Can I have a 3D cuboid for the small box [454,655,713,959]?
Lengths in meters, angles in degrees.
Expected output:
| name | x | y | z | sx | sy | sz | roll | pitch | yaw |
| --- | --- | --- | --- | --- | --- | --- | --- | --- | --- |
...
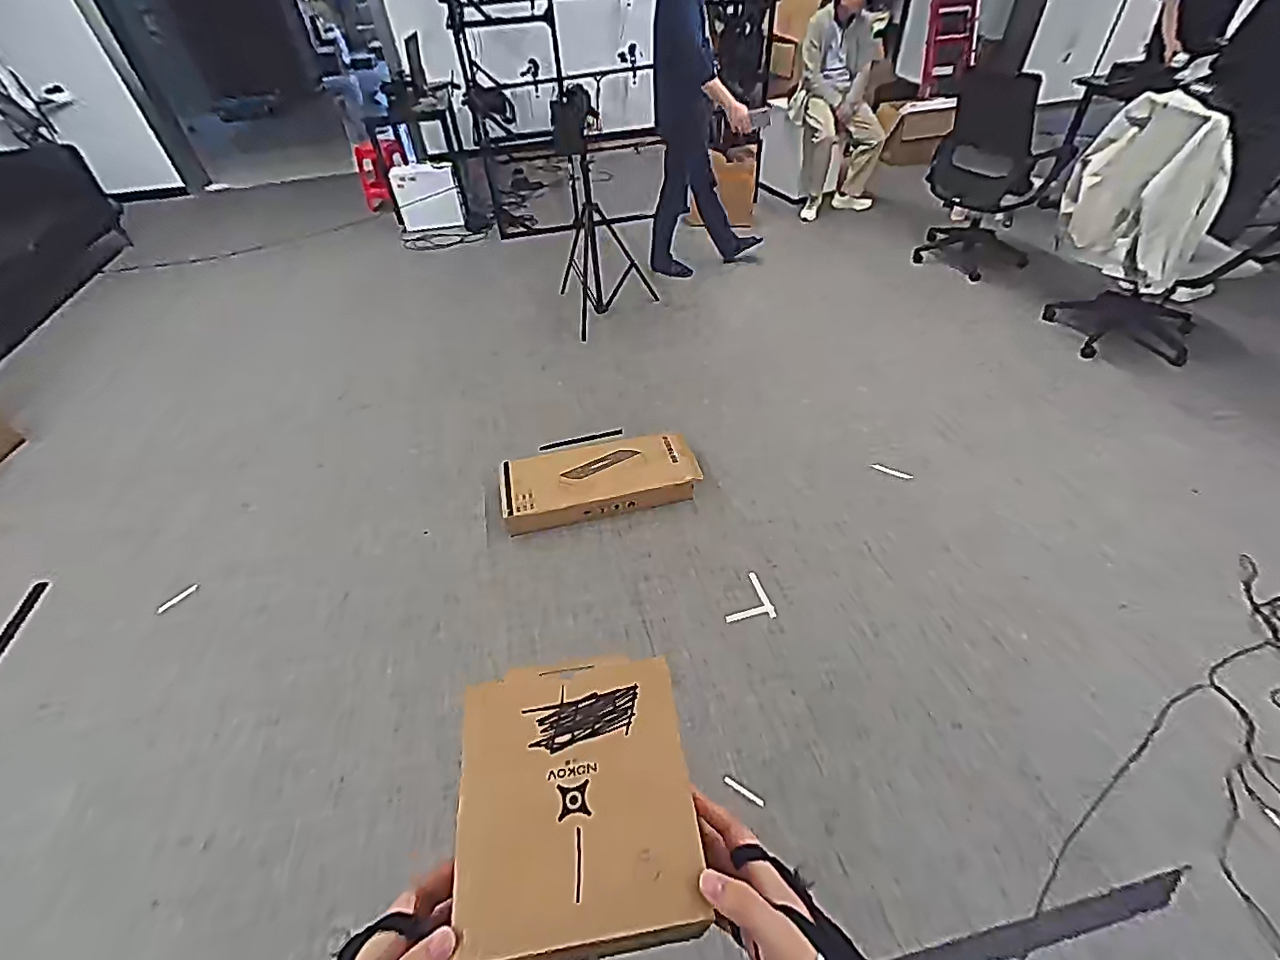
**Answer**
| name | x | y | z | sx | sy | sz | roll | pitch | yaw |
| --- | --- | --- | --- | --- | --- | --- | --- | --- | --- |
| small box | -0.043 | 0.273 | 0.451 | 0.168 | 0.176 | 0.179 | -8 | 47 | -4 |
